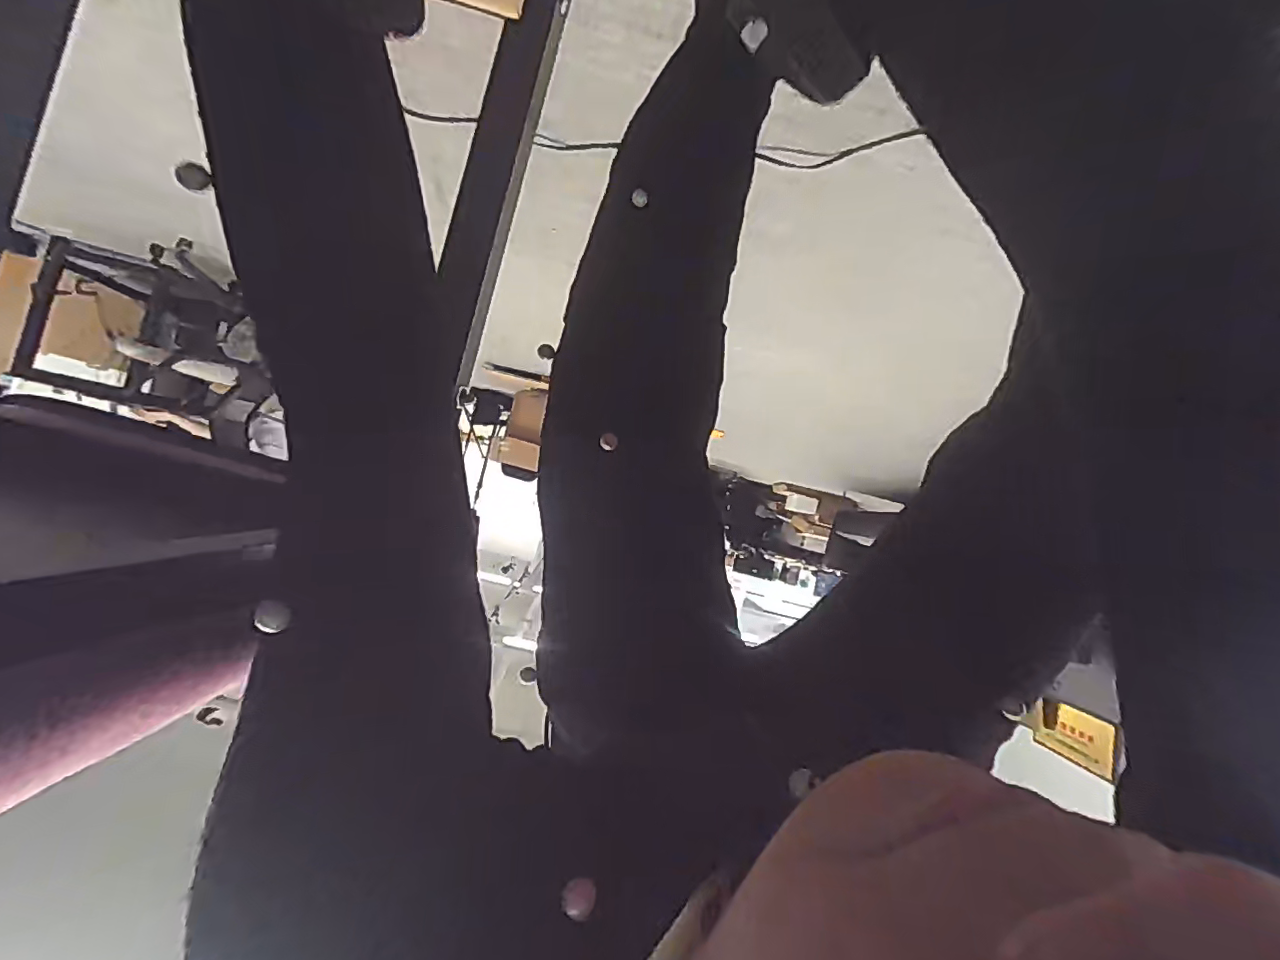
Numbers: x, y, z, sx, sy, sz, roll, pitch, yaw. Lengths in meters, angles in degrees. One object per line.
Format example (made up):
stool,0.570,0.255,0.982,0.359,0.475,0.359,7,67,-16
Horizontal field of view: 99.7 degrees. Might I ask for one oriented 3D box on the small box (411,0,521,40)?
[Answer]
small box,-0.168,-0.536,0.445,0.168,0.176,0.179,16,178,-6
